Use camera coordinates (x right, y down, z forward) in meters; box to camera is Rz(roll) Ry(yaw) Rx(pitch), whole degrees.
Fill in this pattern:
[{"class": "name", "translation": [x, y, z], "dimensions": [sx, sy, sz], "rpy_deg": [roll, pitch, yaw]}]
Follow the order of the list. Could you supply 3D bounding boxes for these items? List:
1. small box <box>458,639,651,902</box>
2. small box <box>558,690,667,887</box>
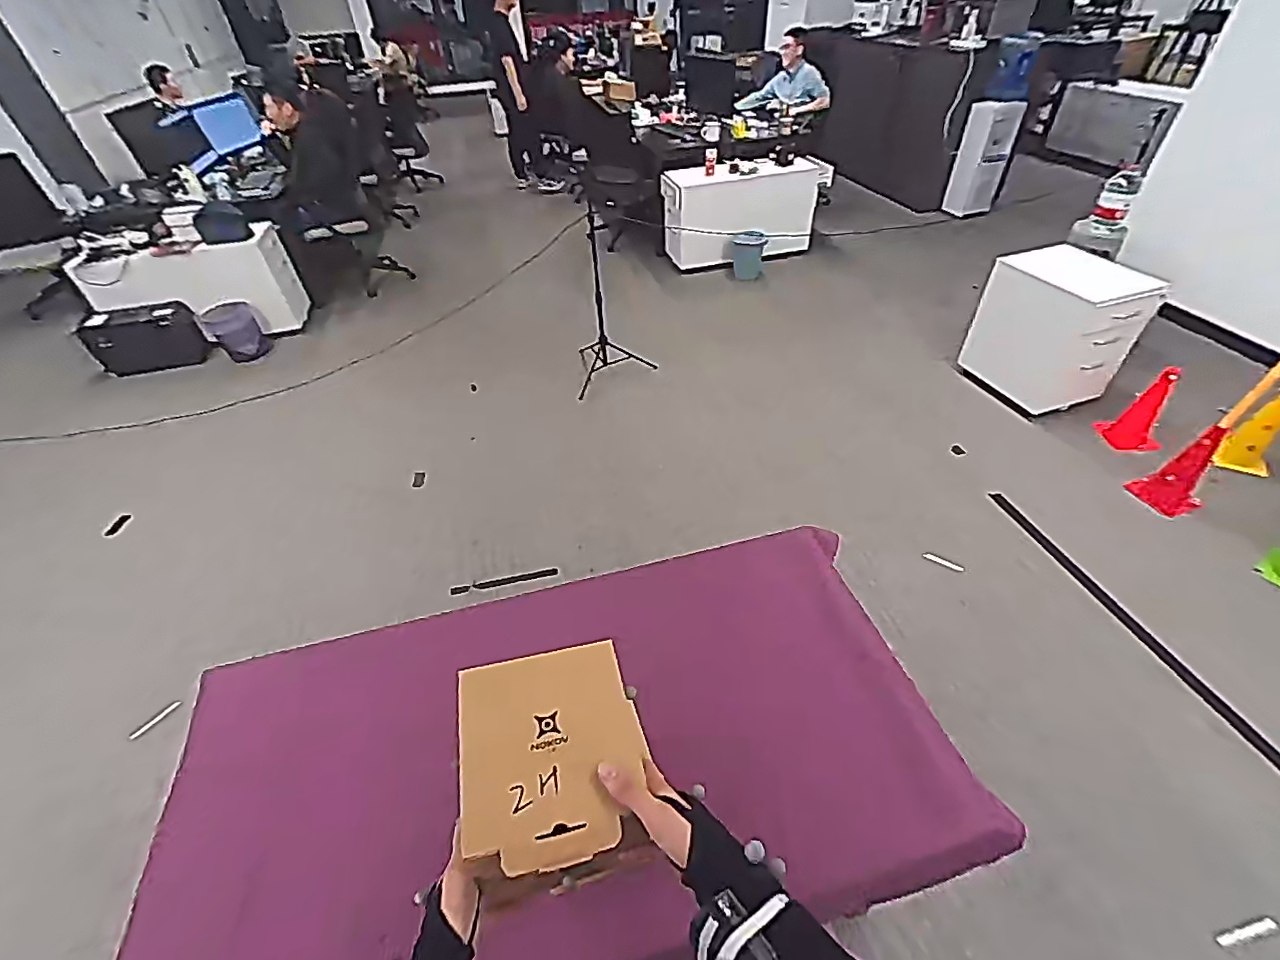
[{"class": "small box", "translation": [-0.092, 0.301, 0.568], "dimensions": [0.168, 0.176, 0.179], "rpy_deg": [-9, 43, -12]}, {"class": "small box", "translation": [-0.068, 0.431, 0.755], "dimensions": [0.179, 0.176, 0.168], "rpy_deg": [-14, 44, -12]}]
